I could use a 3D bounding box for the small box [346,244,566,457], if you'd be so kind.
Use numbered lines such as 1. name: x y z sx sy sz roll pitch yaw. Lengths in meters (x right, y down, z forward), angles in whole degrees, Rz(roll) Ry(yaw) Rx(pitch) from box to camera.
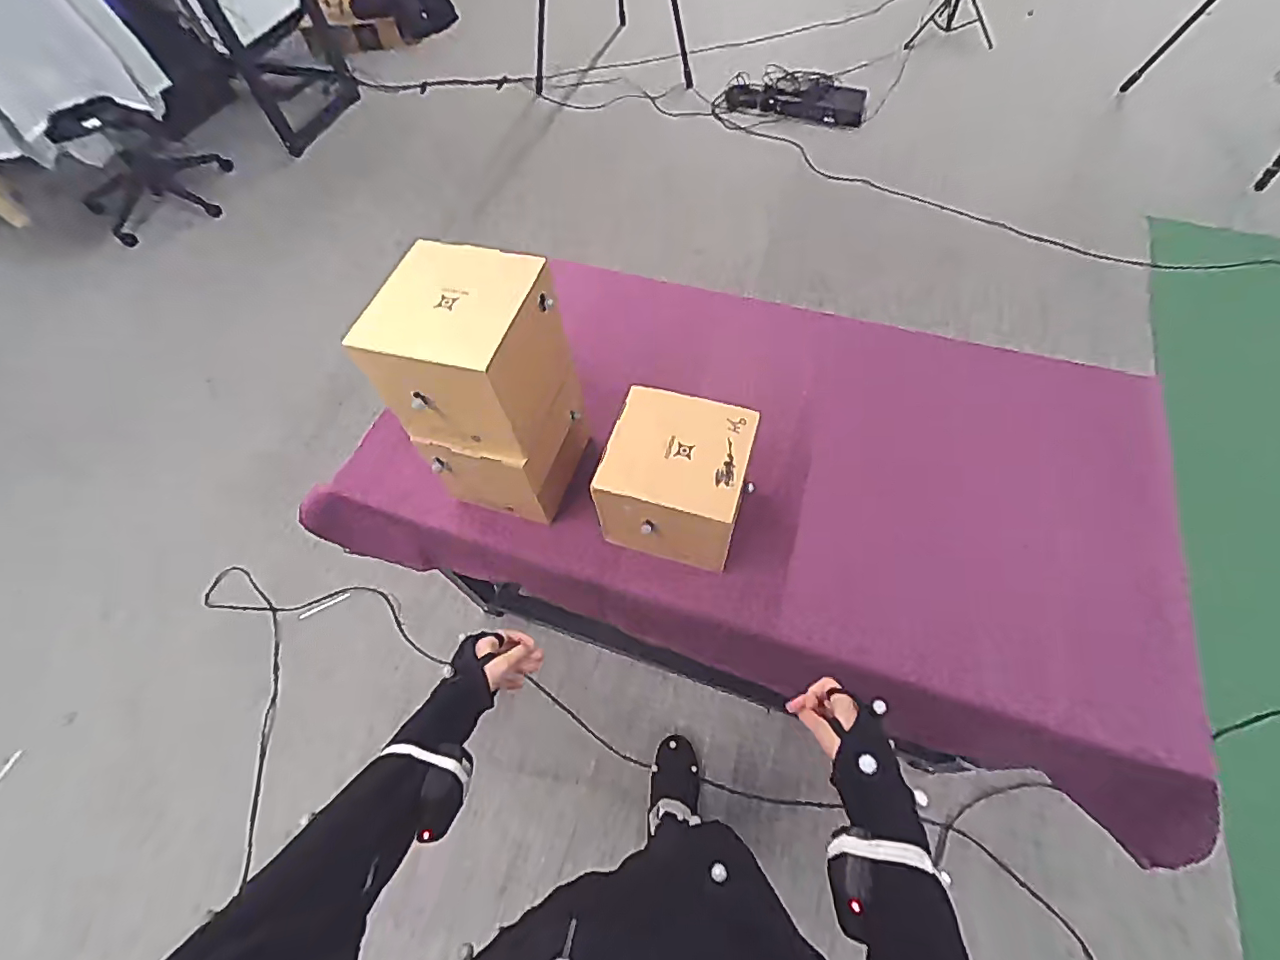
1. small box: -0.200 -0.150 0.652 0.168 0.176 0.179 12 60 11

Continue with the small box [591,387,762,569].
1. small box: 0.053 0.003 0.732 0.179 0.176 0.168 15 62 13
